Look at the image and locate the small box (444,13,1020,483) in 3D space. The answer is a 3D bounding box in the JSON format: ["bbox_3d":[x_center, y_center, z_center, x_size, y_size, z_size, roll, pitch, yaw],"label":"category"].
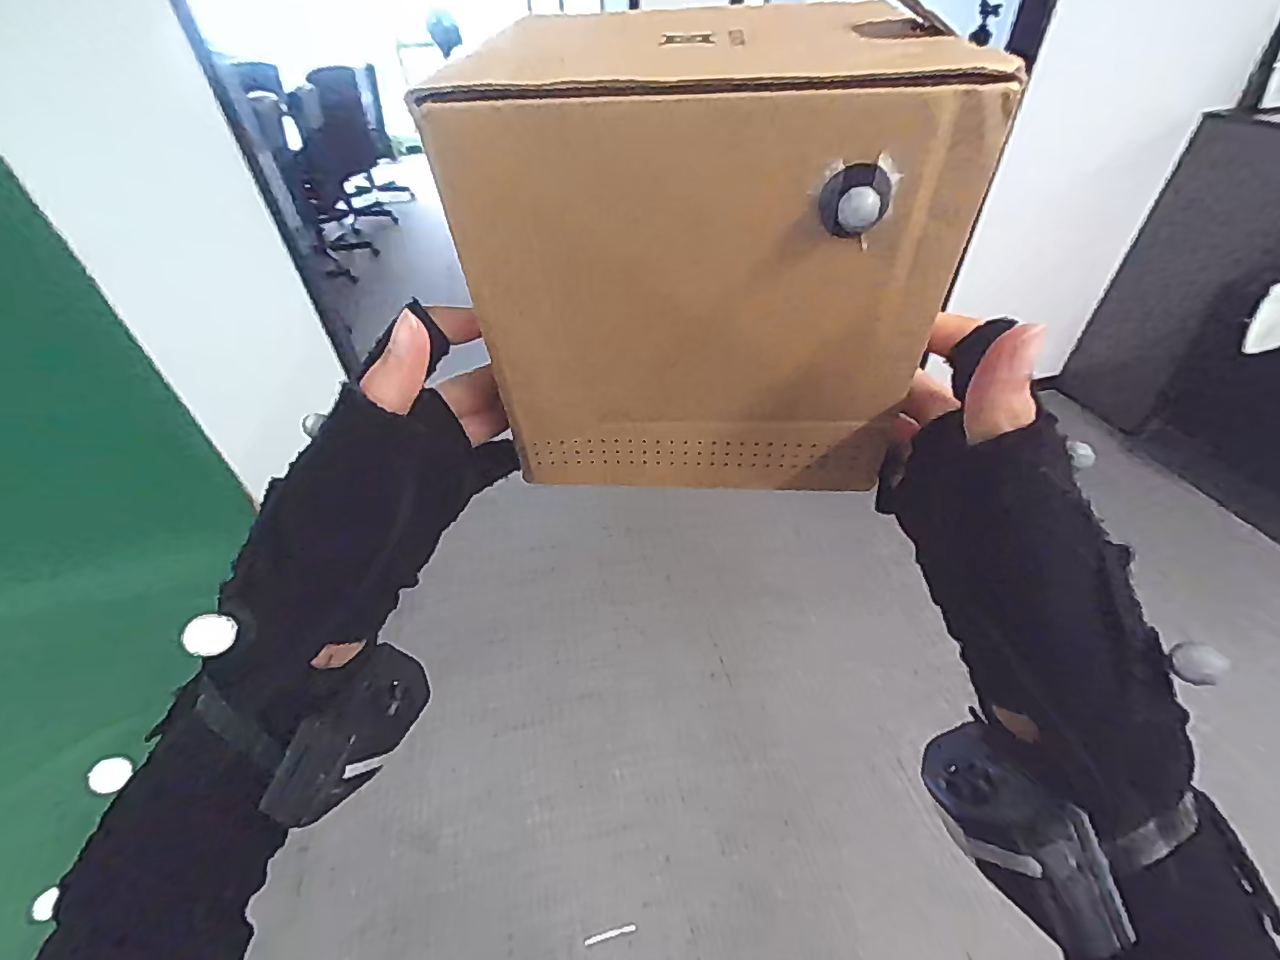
[{"bbox_3d":[0.034,-0.113,0.272,0.179,0.176,0.168,2,46,5],"label":"small box"}]
